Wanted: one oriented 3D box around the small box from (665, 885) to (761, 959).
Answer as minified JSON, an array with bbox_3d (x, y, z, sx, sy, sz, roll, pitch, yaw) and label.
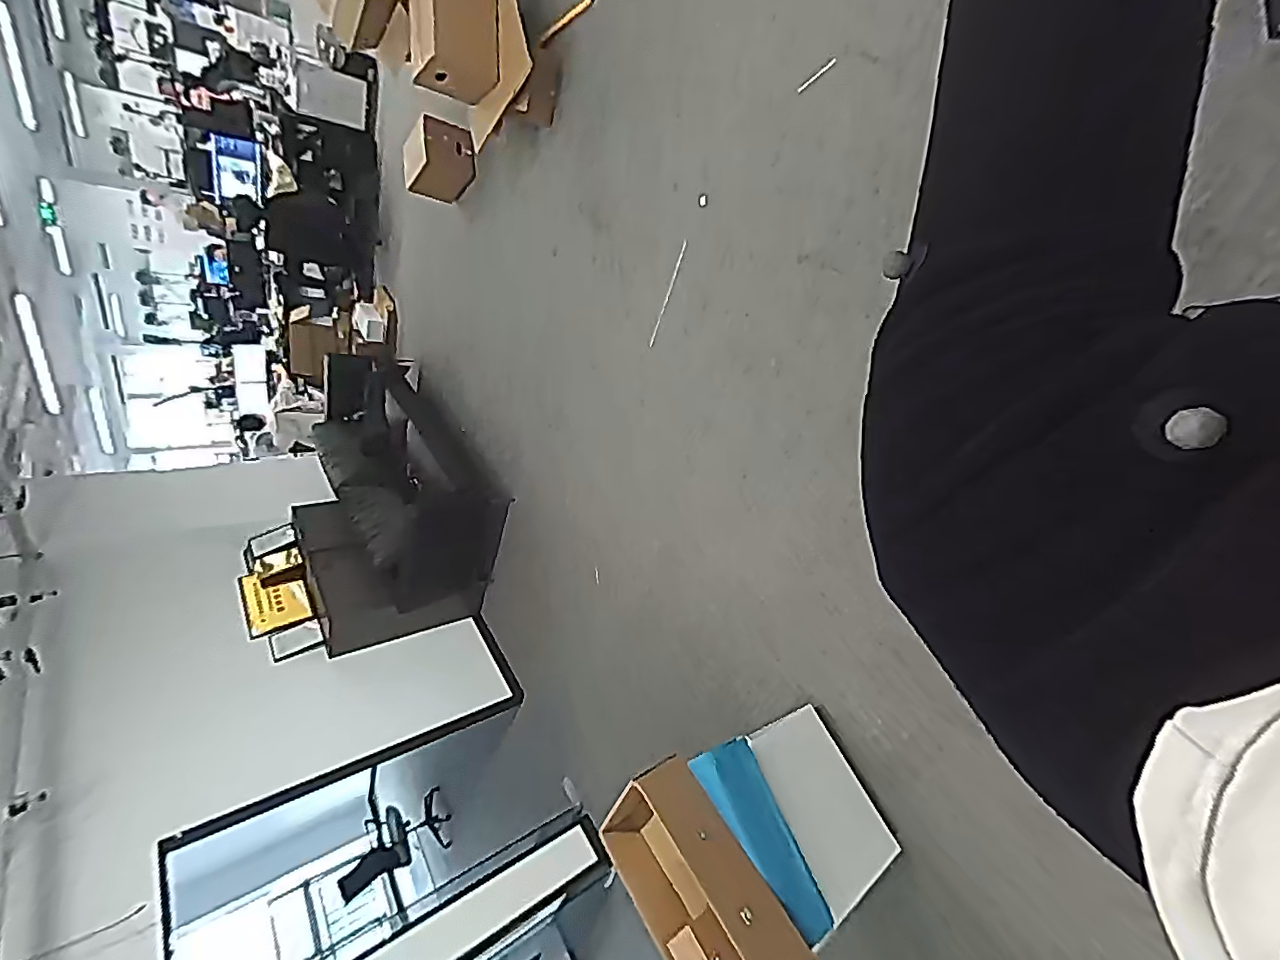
[{"bbox_3d":[0.202,1.274,1.491,0.168,0.176,0.179,48,132,34],"label":"small box"}]
